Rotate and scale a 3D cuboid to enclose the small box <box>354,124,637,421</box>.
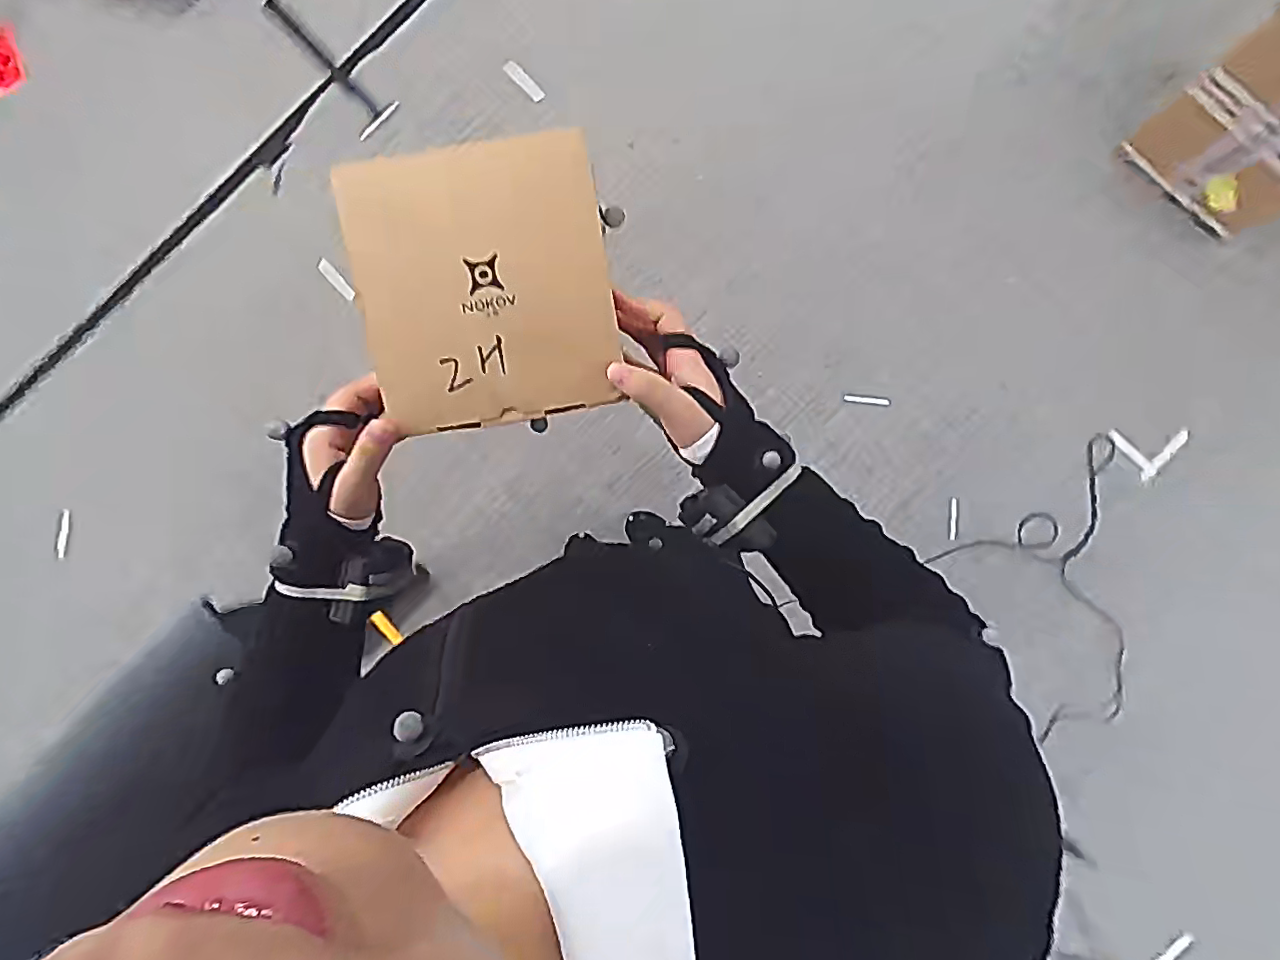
[{"bbox_3d":[-0.095,-0.146,0.439,0.168,0.176,0.179,-8,99,1],"label":"small box"}]
